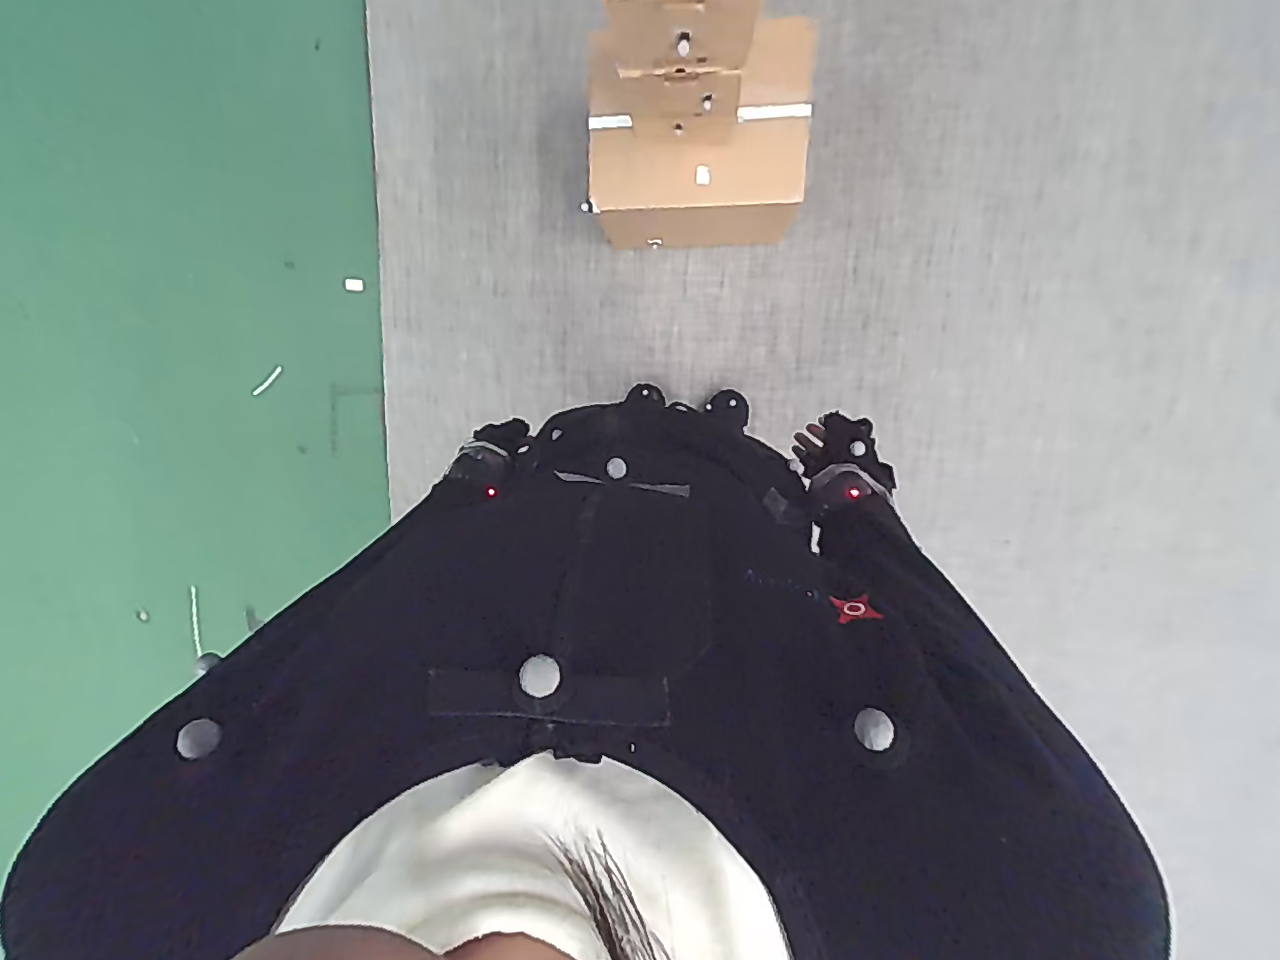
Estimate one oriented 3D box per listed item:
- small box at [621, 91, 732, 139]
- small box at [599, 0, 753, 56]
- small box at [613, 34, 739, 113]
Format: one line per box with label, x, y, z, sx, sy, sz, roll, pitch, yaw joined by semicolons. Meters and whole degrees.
small box;0.073;-0.691;0.900;0.179;0.176;0.168;8;105;4
small box;0.046;-0.597;0.593;0.168;0.176;0.179;2;107;5
small box;0.055;-0.635;0.751;0.168;0.176;0.179;1;105;5
